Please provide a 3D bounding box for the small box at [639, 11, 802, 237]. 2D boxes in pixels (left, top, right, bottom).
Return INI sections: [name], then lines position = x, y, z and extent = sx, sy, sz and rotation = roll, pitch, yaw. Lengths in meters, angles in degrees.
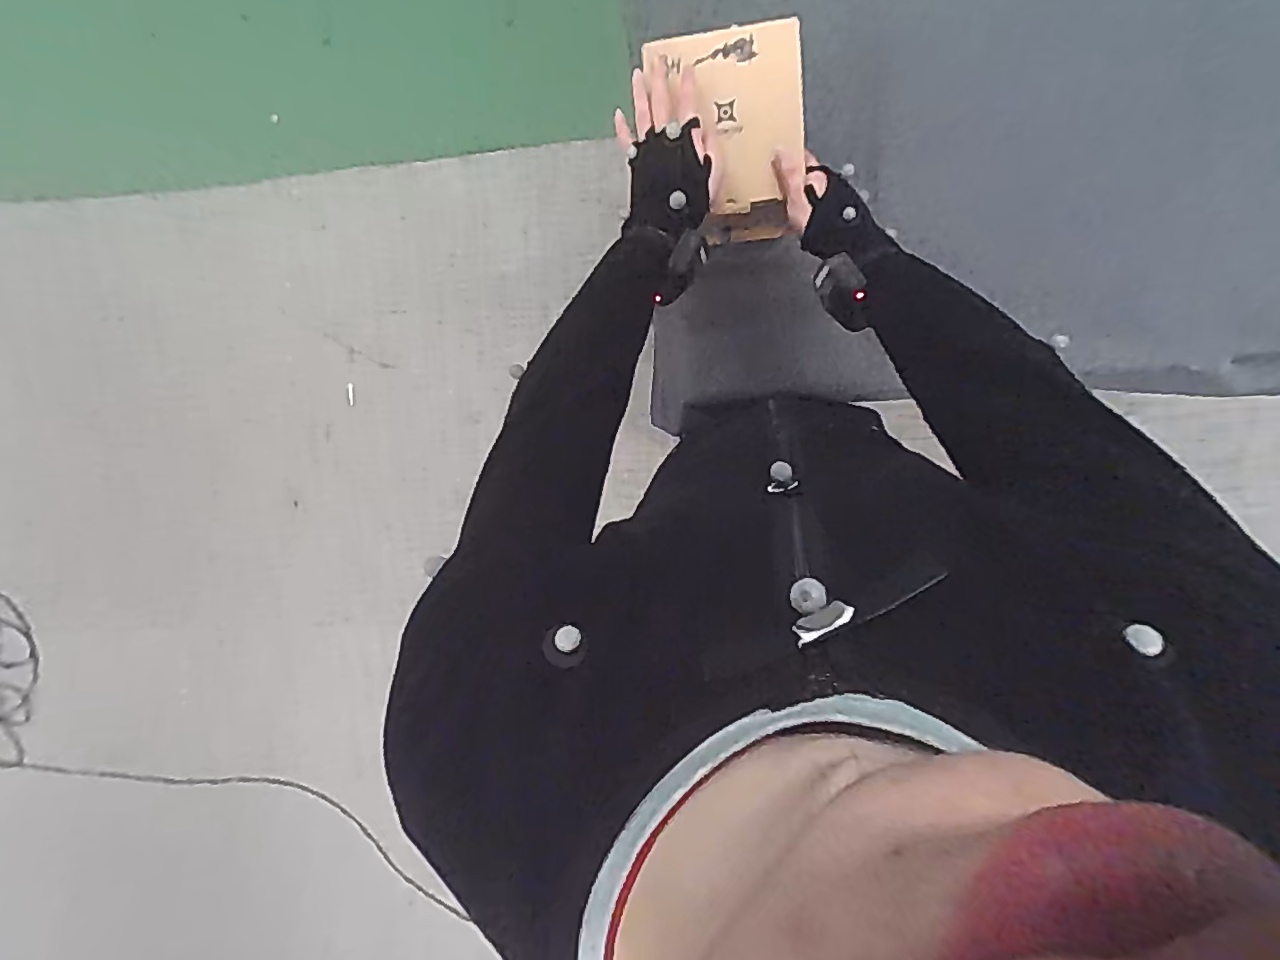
[small box]
position = 0.093, -0.402, 0.648
extent = 0.168, 0.176, 0.179
rotation = -5, 102, 5
